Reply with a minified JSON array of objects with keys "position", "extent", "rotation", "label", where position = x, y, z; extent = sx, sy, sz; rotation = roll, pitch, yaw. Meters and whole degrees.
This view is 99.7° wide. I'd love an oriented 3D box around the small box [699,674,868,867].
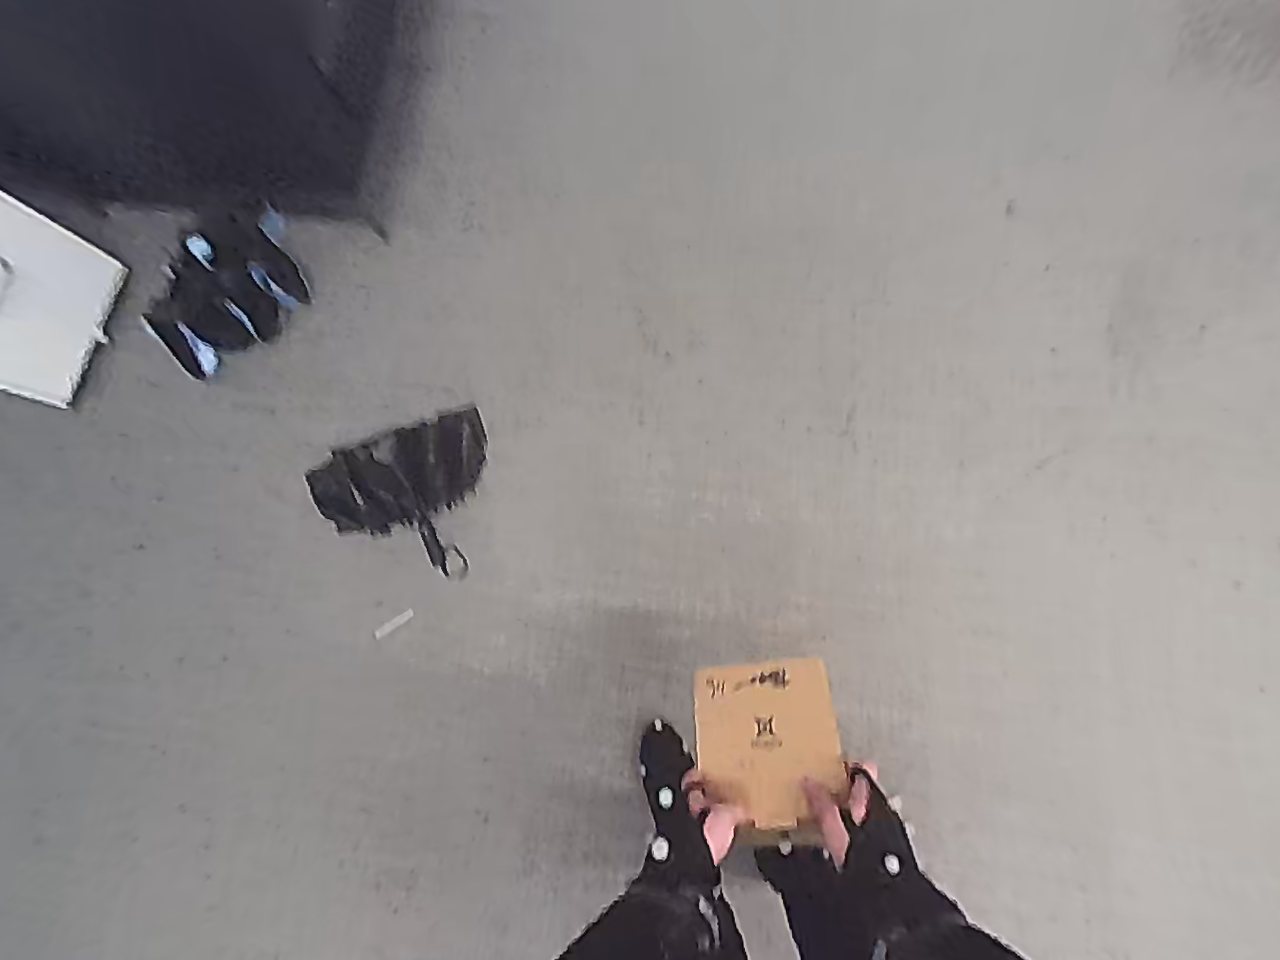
[{"position":[0.175,0.360,0.661],"extent":[0.168,0.176,0.179],"rotation":[-11,46,14],"label":"small box"}]
